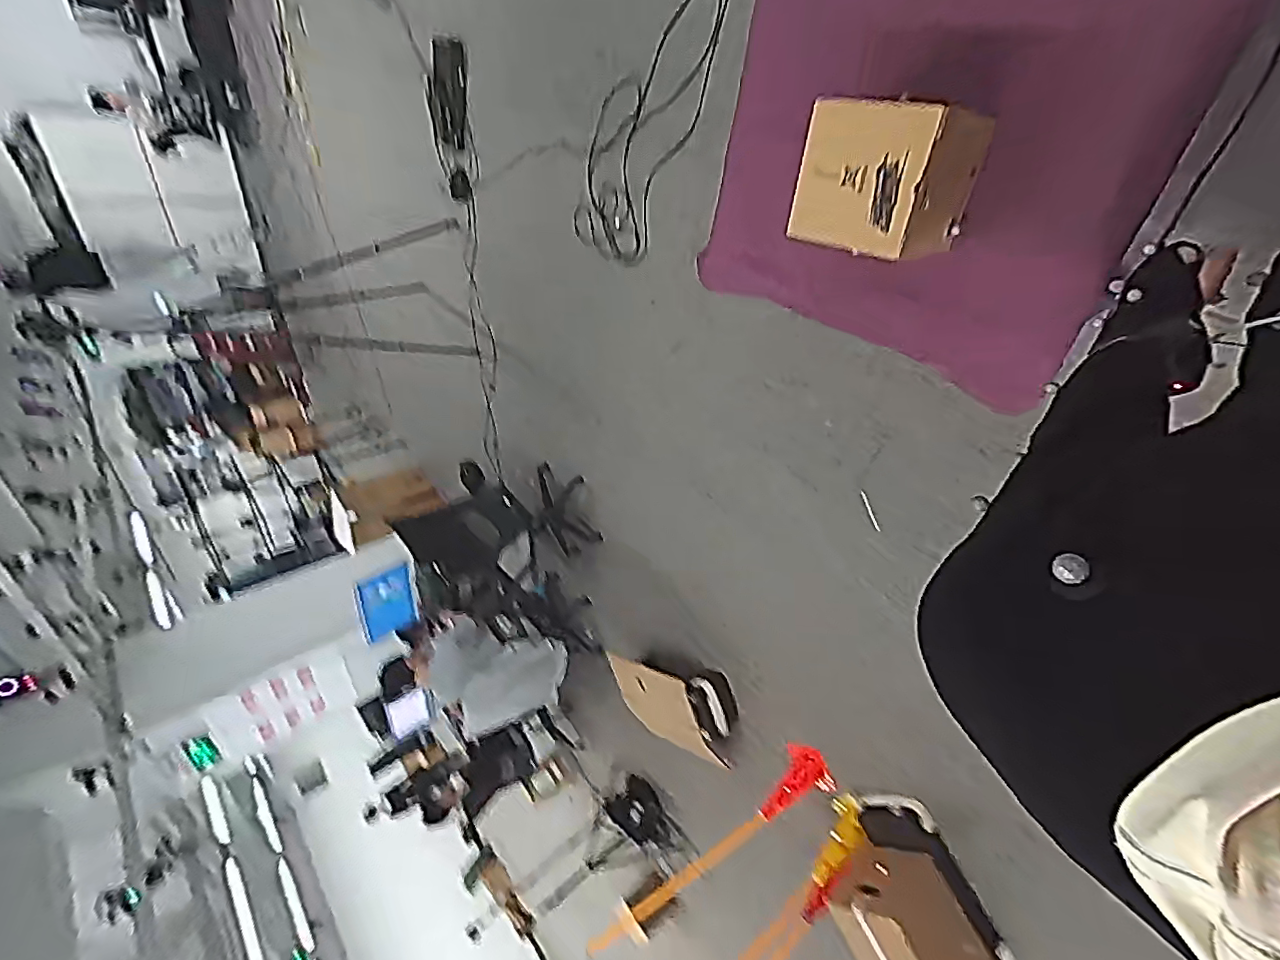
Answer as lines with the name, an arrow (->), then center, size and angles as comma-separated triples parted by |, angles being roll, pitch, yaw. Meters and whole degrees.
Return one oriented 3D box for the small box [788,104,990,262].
small box -> 0.342, -0.413, 0.750 | 0.179, 0.176, 0.168 | 35, 133, 37
